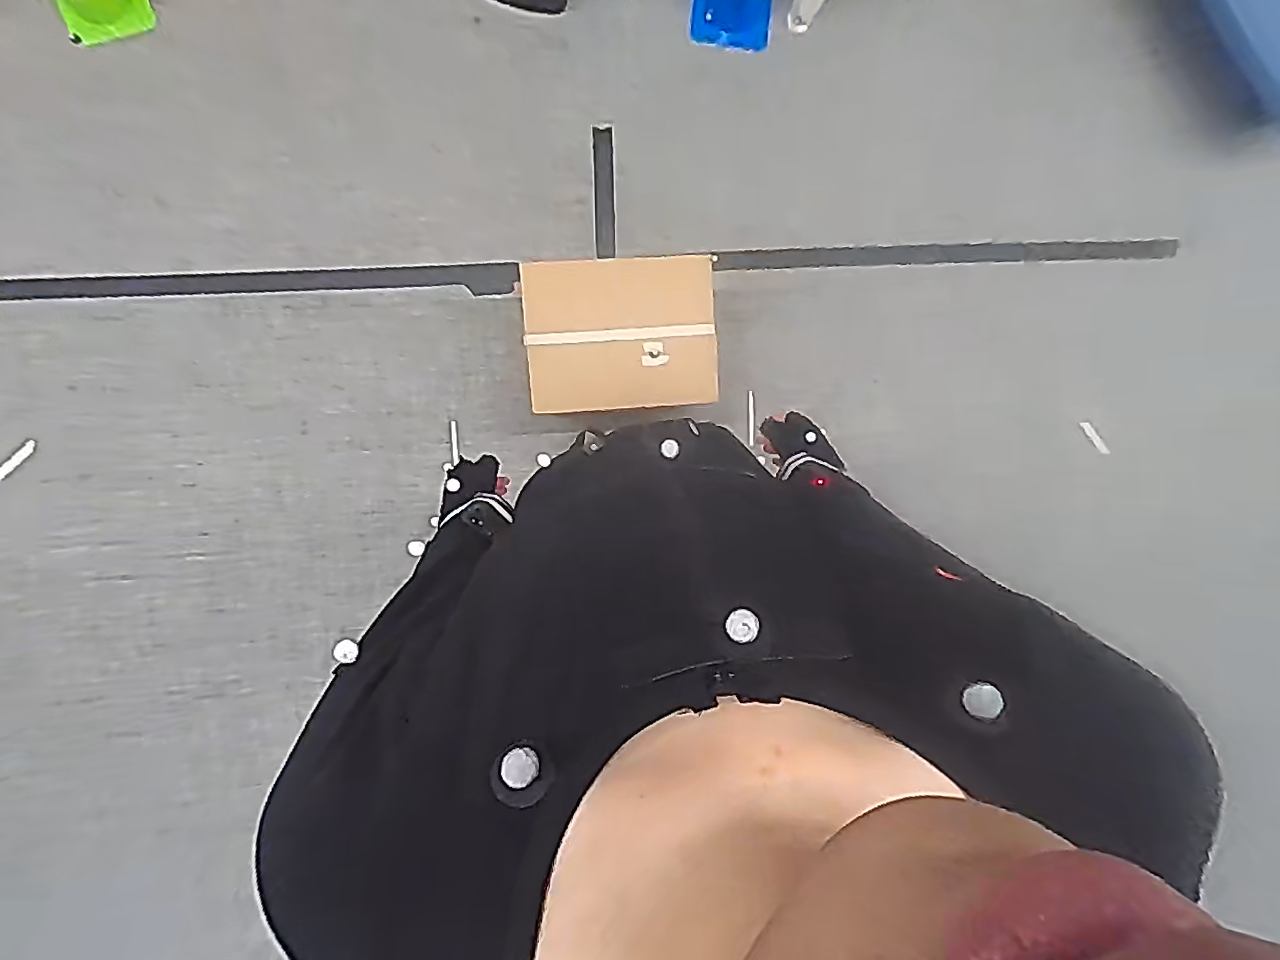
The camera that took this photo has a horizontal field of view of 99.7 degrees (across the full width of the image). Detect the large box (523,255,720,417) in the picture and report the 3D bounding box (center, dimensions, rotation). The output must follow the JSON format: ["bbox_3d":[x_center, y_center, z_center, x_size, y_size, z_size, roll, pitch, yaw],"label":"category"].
[{"bbox_3d":[-0.049,-0.324,1.294,0.408,0.320,0.320,-5,97,-5],"label":"large box"}]
